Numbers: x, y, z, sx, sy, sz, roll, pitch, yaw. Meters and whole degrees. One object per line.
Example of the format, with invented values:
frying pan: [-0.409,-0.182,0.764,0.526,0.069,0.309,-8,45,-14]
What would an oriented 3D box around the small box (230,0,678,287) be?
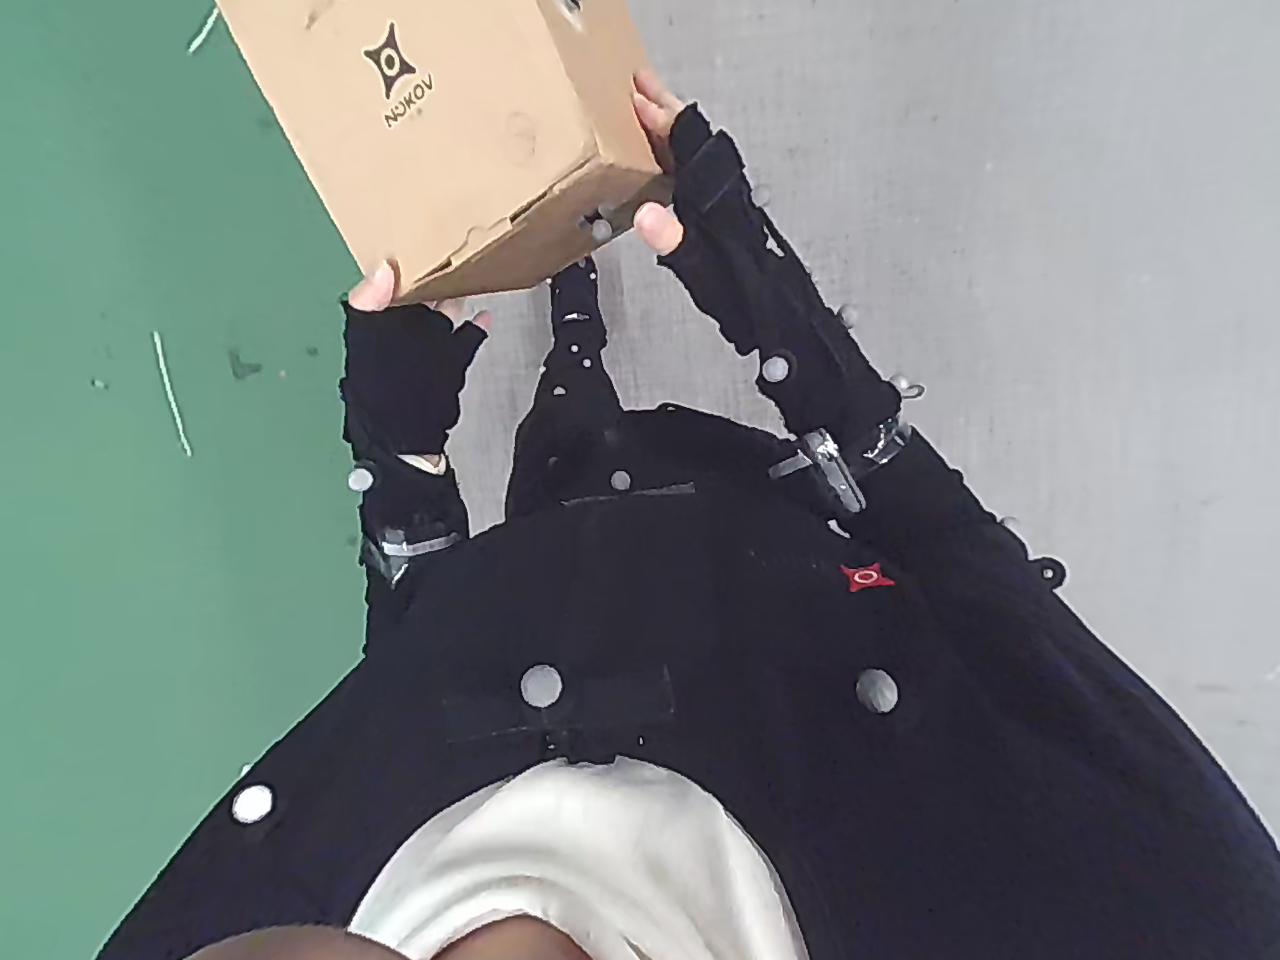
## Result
small box: [-0.094,-0.239,0.338,0.168,0.176,0.179,-16,102,27]
